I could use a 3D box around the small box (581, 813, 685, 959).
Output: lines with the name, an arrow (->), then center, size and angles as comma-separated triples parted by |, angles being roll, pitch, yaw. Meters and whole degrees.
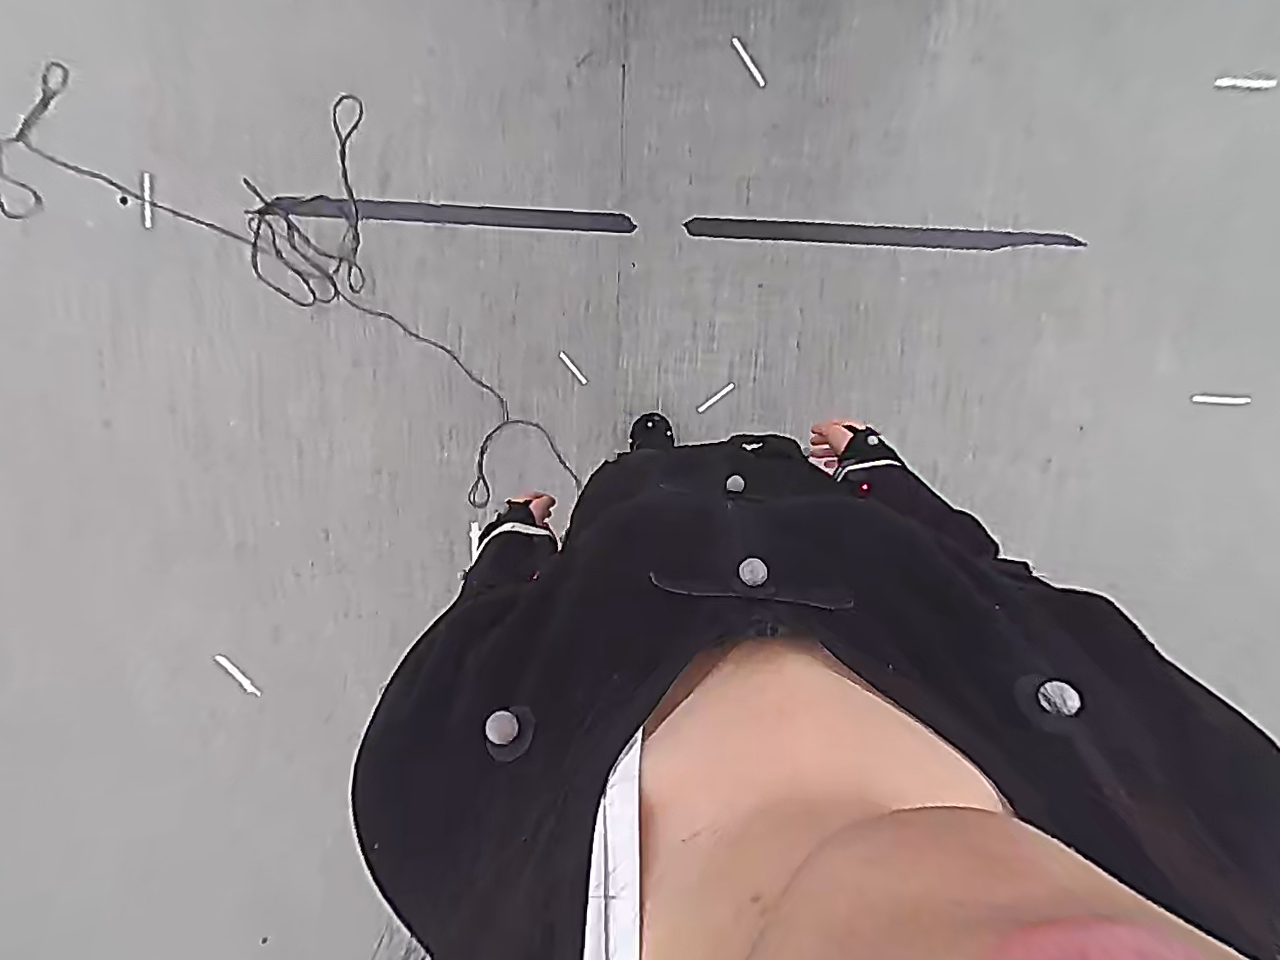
small box -> -0.013, 0.762, 1.010 | 0.168, 0.176, 0.179 | 7, 95, 0
